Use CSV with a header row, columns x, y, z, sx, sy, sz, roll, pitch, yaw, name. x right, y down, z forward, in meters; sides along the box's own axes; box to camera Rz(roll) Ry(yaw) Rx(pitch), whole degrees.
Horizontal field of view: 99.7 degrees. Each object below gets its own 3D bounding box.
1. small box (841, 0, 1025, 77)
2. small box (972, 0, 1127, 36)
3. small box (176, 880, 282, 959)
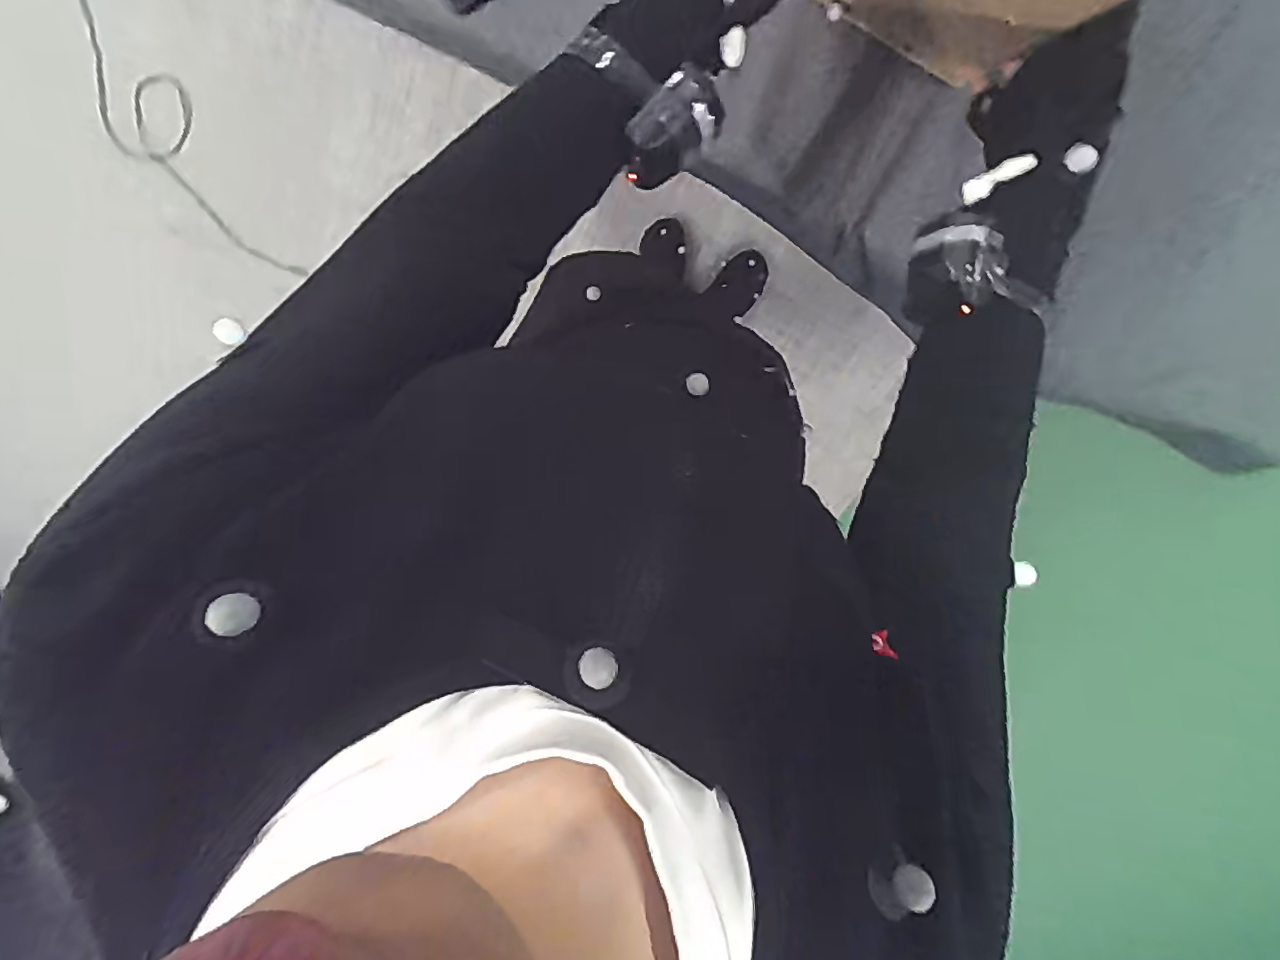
x,y,z,sx,sy,sz,roll,pitch,yaw,name
0.251,-0.432,0.382,0.168,0.176,0.179,29,117,-5,small box
0.225,-0.355,0.241,0.168,0.176,0.179,28,119,-3,small box
-1.178,1.293,1.553,0.179,0.176,0.168,27,119,-3,small box
